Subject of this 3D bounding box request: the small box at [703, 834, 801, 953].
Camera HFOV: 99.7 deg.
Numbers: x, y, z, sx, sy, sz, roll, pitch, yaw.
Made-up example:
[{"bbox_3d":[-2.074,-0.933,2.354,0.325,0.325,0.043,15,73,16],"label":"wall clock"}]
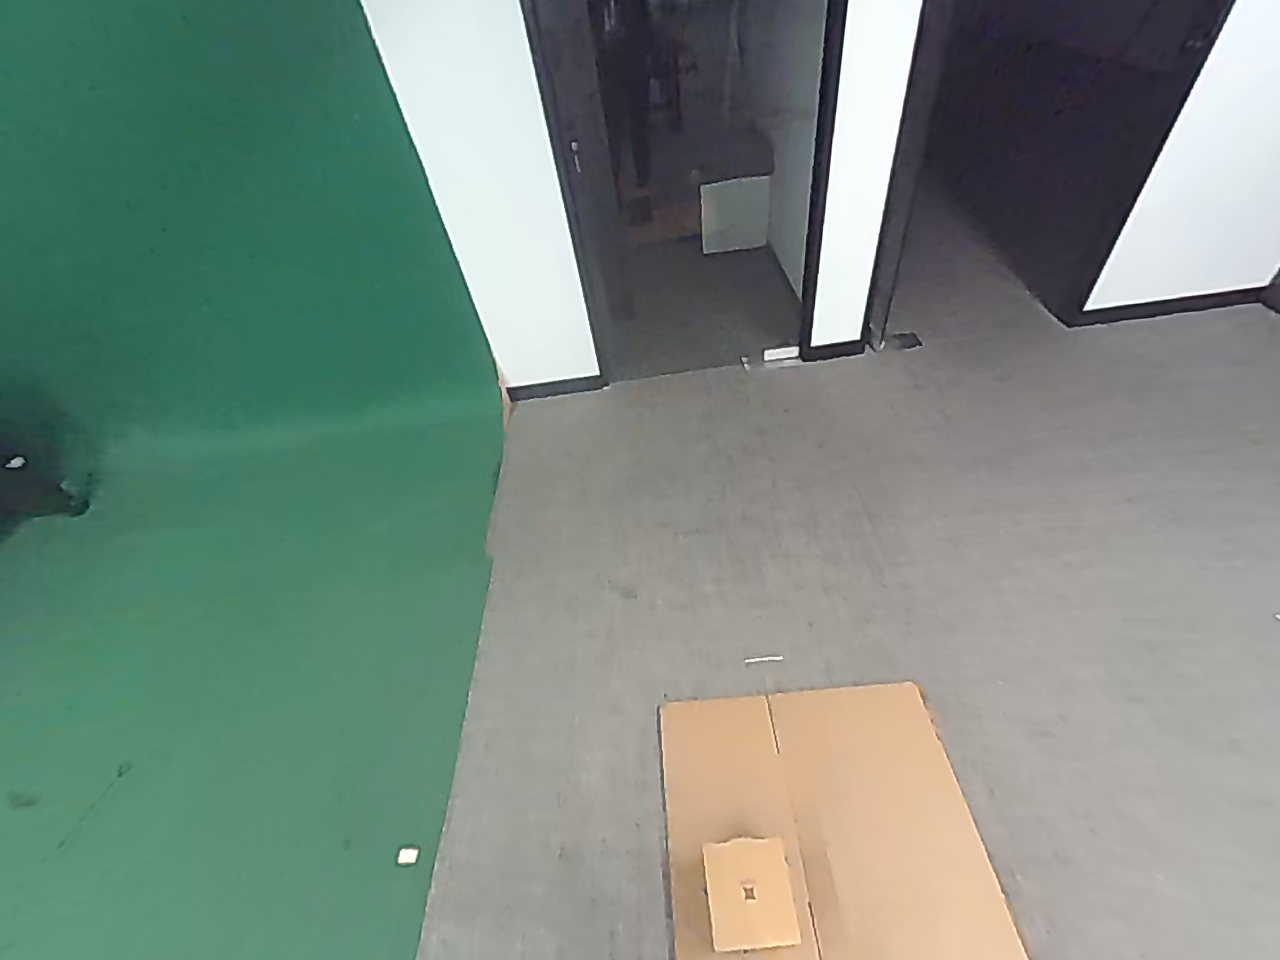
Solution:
[{"bbox_3d":[0.226,0.857,1.117,0.168,0.176,0.179,-8,45,2],"label":"small box"}]
